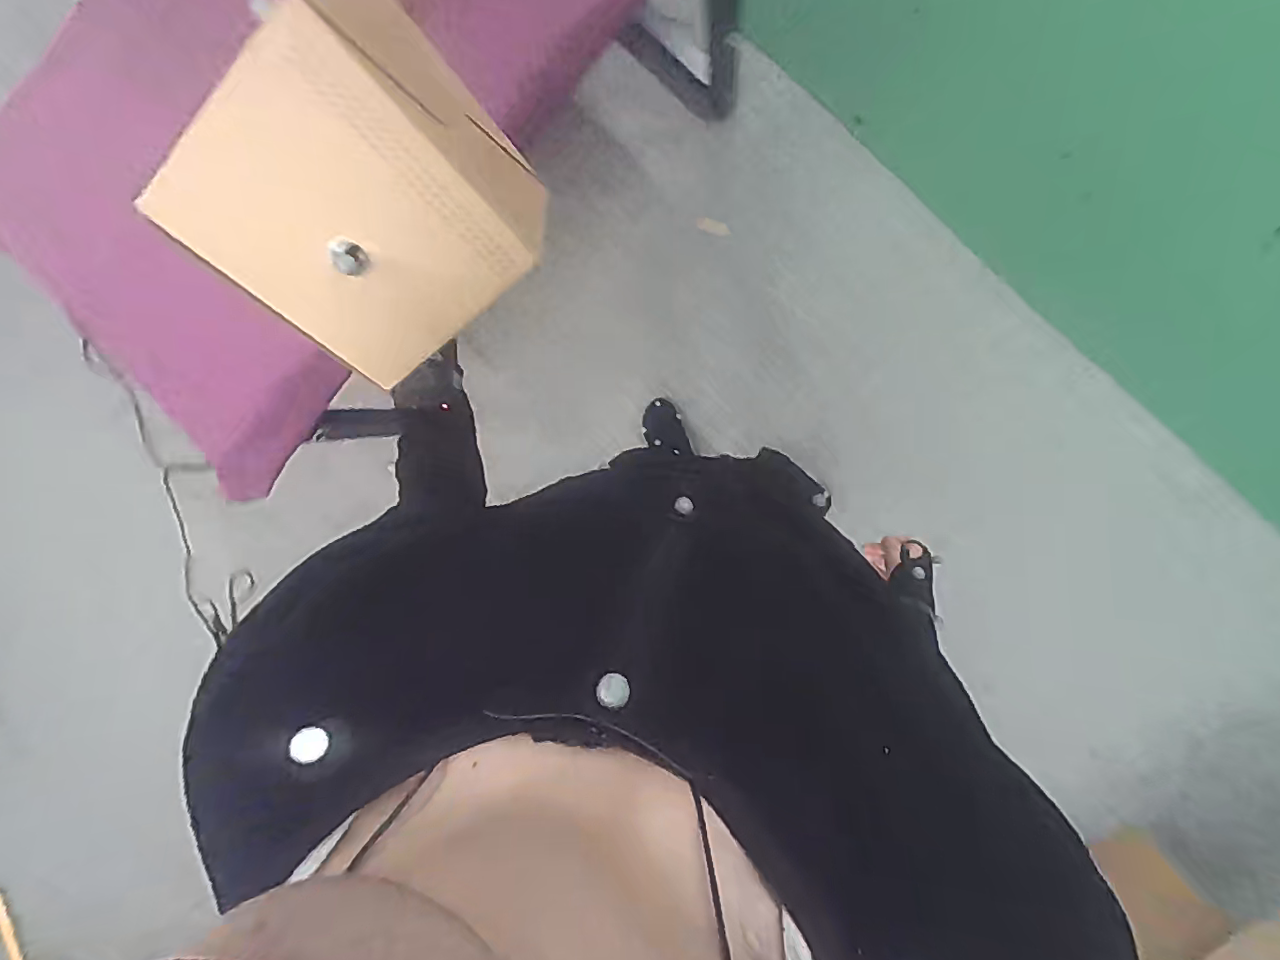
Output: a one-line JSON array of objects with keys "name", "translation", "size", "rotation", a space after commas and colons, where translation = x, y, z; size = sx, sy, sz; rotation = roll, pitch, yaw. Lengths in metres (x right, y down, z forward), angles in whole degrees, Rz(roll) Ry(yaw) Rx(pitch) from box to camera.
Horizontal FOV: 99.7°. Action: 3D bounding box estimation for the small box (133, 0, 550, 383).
[{"name": "small box", "translation": [-0.184, -0.212, 0.386], "size": [0.176, 0.168, 0.179], "rotation": [-31, 130, 22]}]
